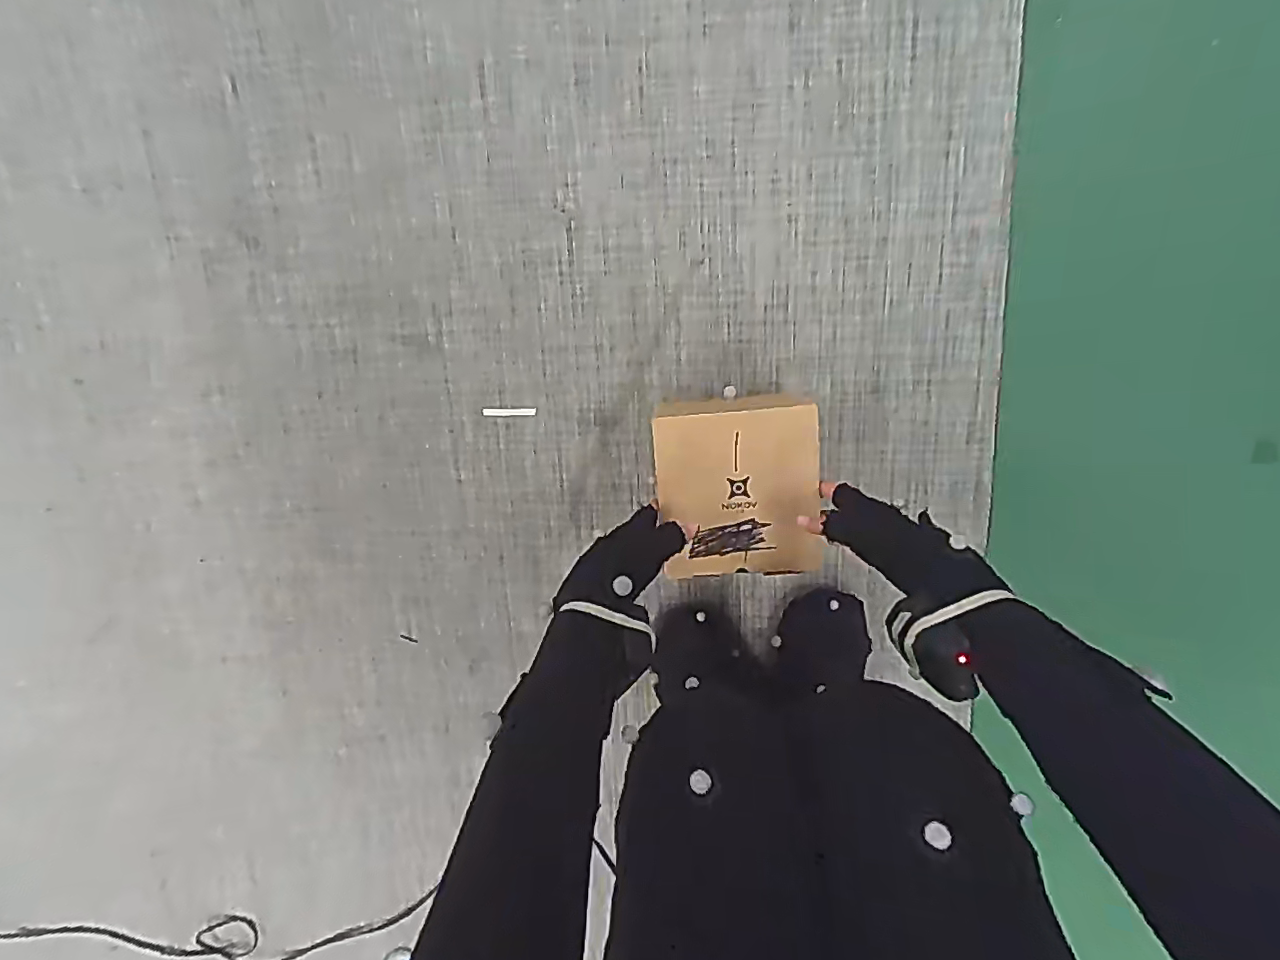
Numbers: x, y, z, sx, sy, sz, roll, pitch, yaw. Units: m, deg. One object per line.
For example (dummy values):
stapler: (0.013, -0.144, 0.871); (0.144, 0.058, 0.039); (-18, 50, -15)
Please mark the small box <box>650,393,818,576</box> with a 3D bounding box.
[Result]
small box: (0.105, -0.003, 0.625); (0.168, 0.176, 0.179); (-4, 102, 6)
